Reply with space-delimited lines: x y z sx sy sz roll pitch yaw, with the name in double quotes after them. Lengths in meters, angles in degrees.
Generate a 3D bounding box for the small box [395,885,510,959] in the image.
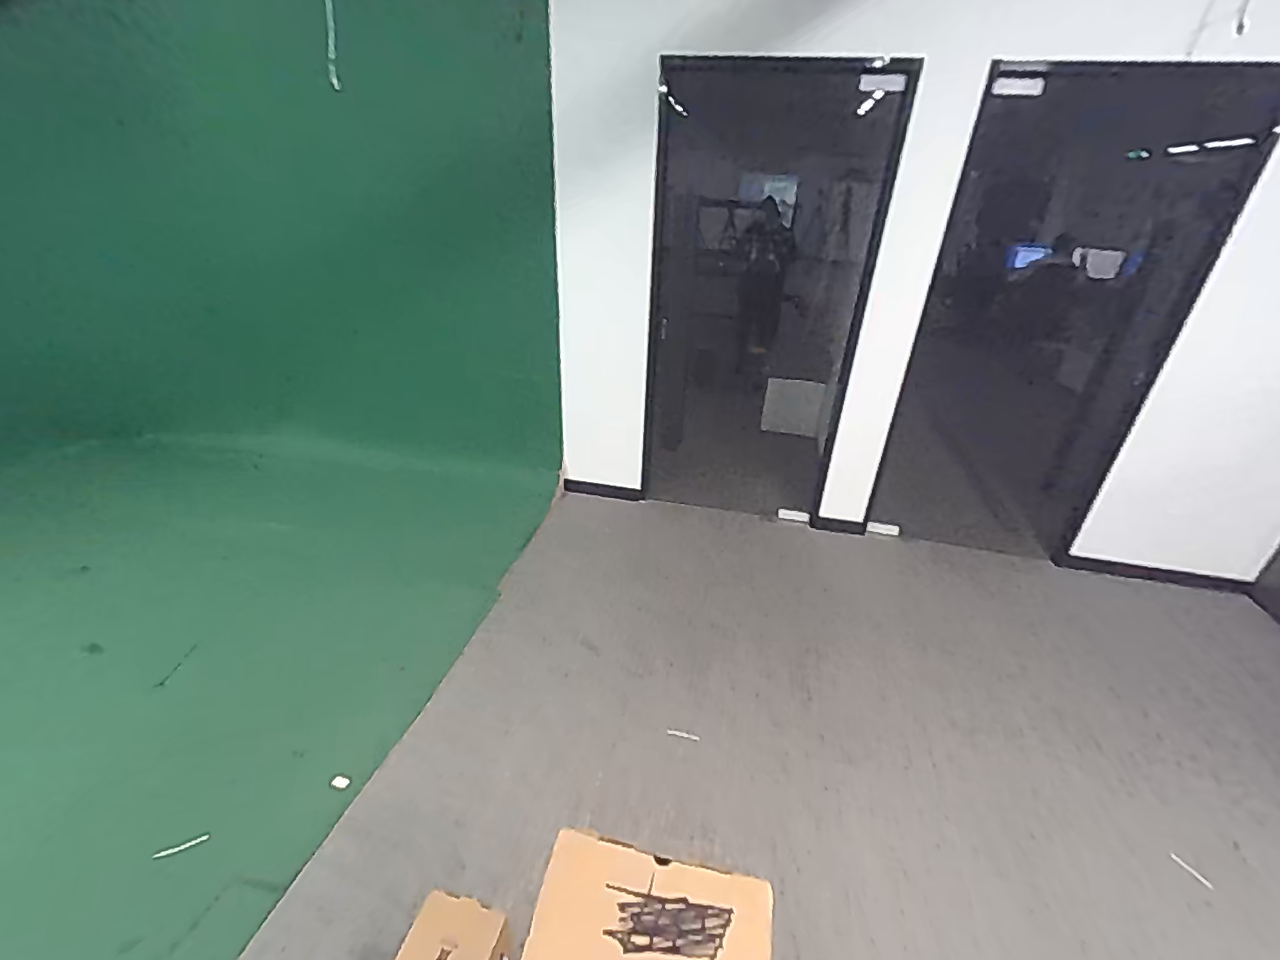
-0.361 0.939 1.041 0.168 0.176 0.179 8 30 12 "small box"

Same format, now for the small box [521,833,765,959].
-0.008 0.408 0.406 0.168 0.176 0.179 10 42 9 "small box"
